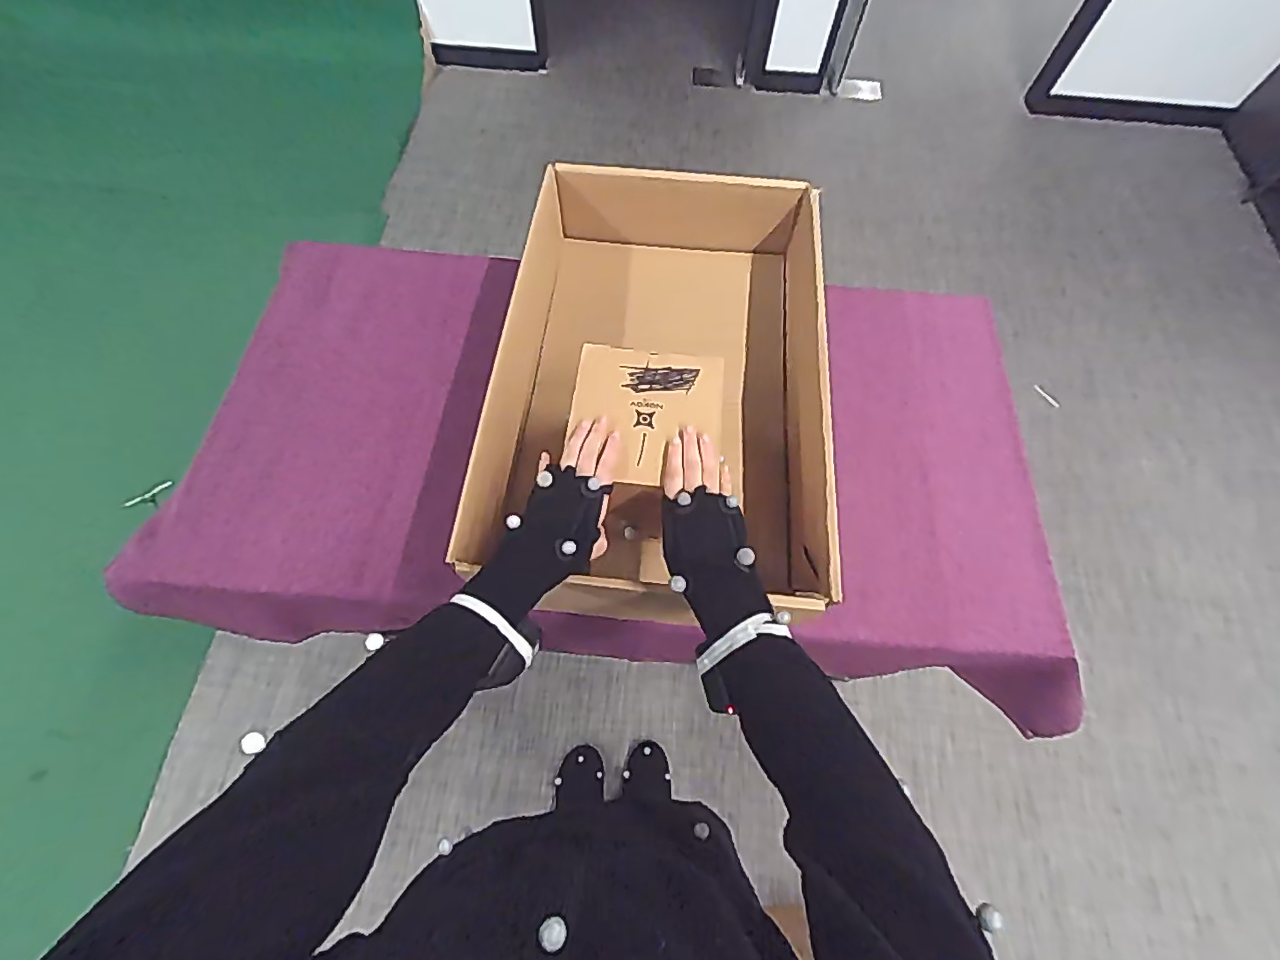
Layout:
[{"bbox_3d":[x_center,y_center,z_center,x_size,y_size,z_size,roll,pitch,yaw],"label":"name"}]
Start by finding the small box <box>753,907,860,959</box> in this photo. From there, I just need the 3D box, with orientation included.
[{"bbox_3d":[0.326,0.971,1.069,0.179,0.176,0.168,1,65,-2],"label":"small box"}]

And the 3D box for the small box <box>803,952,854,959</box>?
[{"bbox_3d":[0.338,0.819,0.776,0.168,0.176,0.179,6,64,1],"label":"small box"}]

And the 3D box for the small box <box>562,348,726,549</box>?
[{"bbox_3d":[0.007,-0.032,0.658,0.168,0.176,0.179,6,64,2],"label":"small box"}]
